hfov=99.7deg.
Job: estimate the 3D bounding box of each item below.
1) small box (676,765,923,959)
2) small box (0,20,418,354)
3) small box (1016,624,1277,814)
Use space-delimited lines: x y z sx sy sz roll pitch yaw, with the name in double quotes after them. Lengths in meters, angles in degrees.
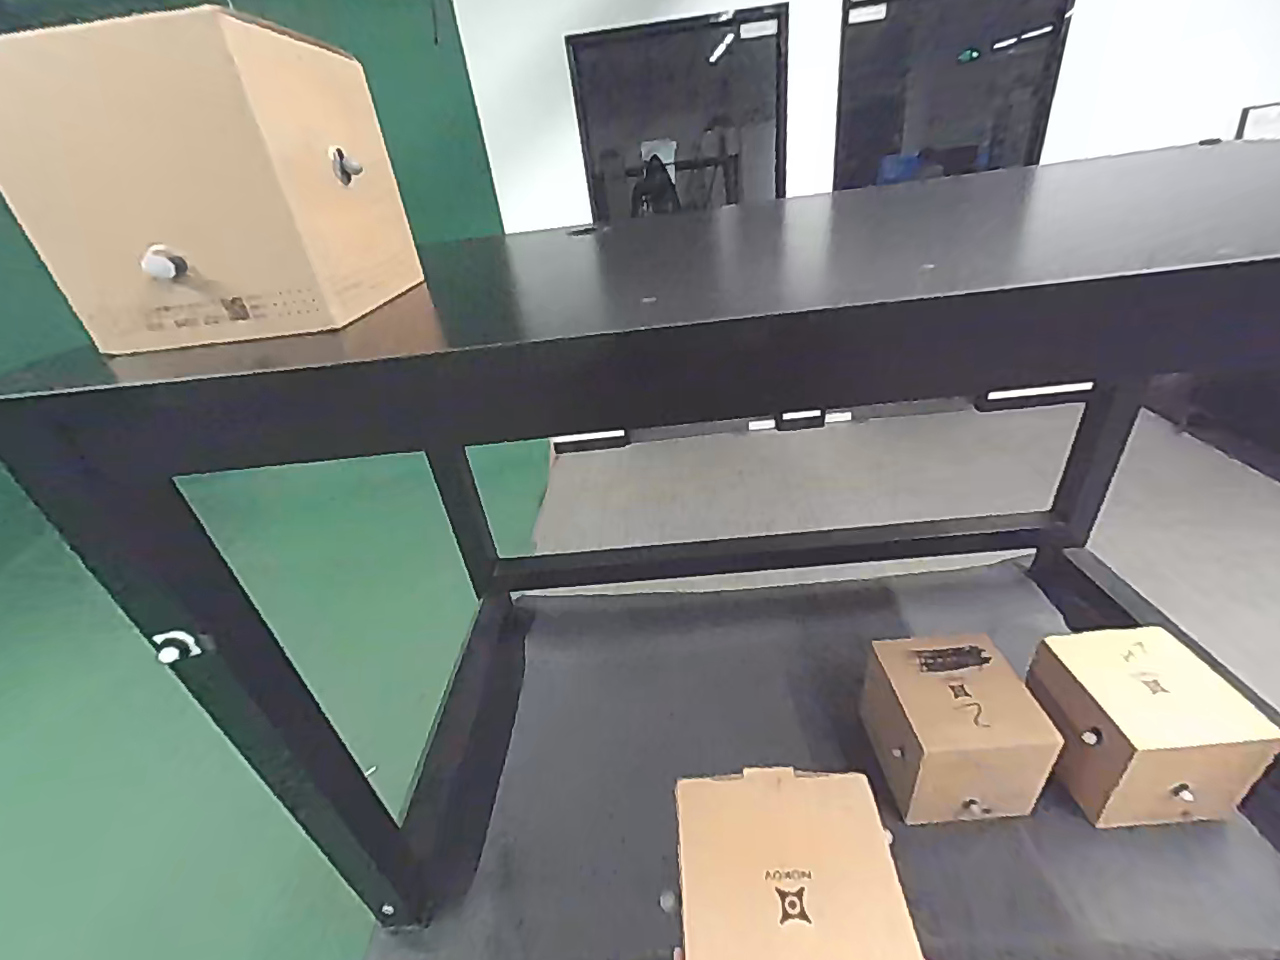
0.120 0.369 0.457 0.168 0.176 0.179 -4 38 2 "small box"
-0.283 -0.201 0.393 0.168 0.176 0.179 -6 32 2 "small box"
0.657 0.325 0.732 0.168 0.176 0.179 -6 30 2 "small box"
